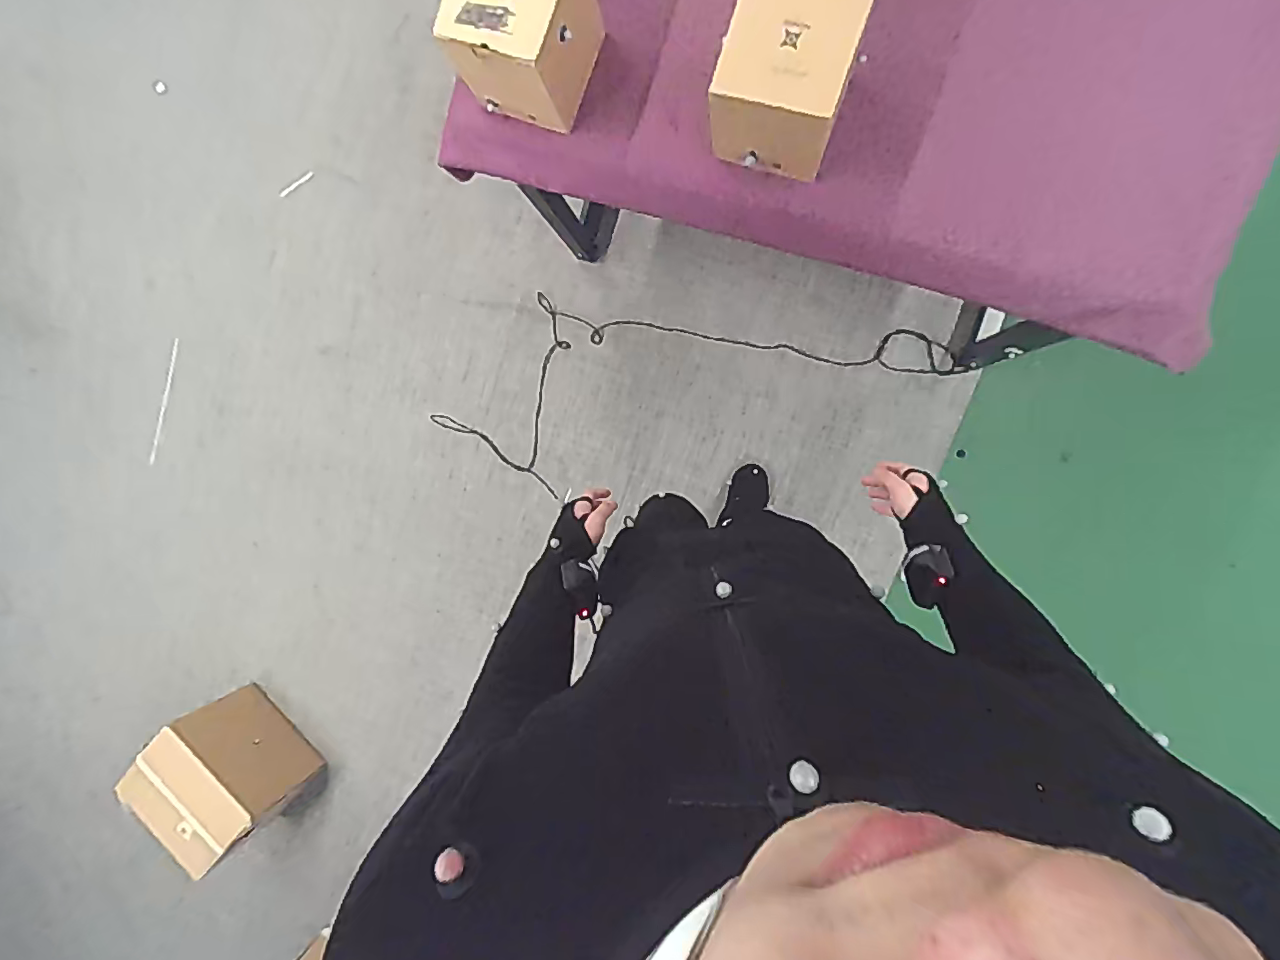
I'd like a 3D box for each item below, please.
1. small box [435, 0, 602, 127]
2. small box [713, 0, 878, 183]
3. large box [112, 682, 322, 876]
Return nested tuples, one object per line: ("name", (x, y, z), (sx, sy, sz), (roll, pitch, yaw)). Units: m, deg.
("small box", (-0.171, -0.680, 0.816), (0.168, 0.176, 0.179), (22, 95, 7))
("small box", (0.208, -0.564, 0.764), (0.168, 0.176, 0.179), (20, 96, 8))
("large box", (-1.382, 0.966, 1.795), (0.408, 0.320, 0.320), (43, 100, 3))
